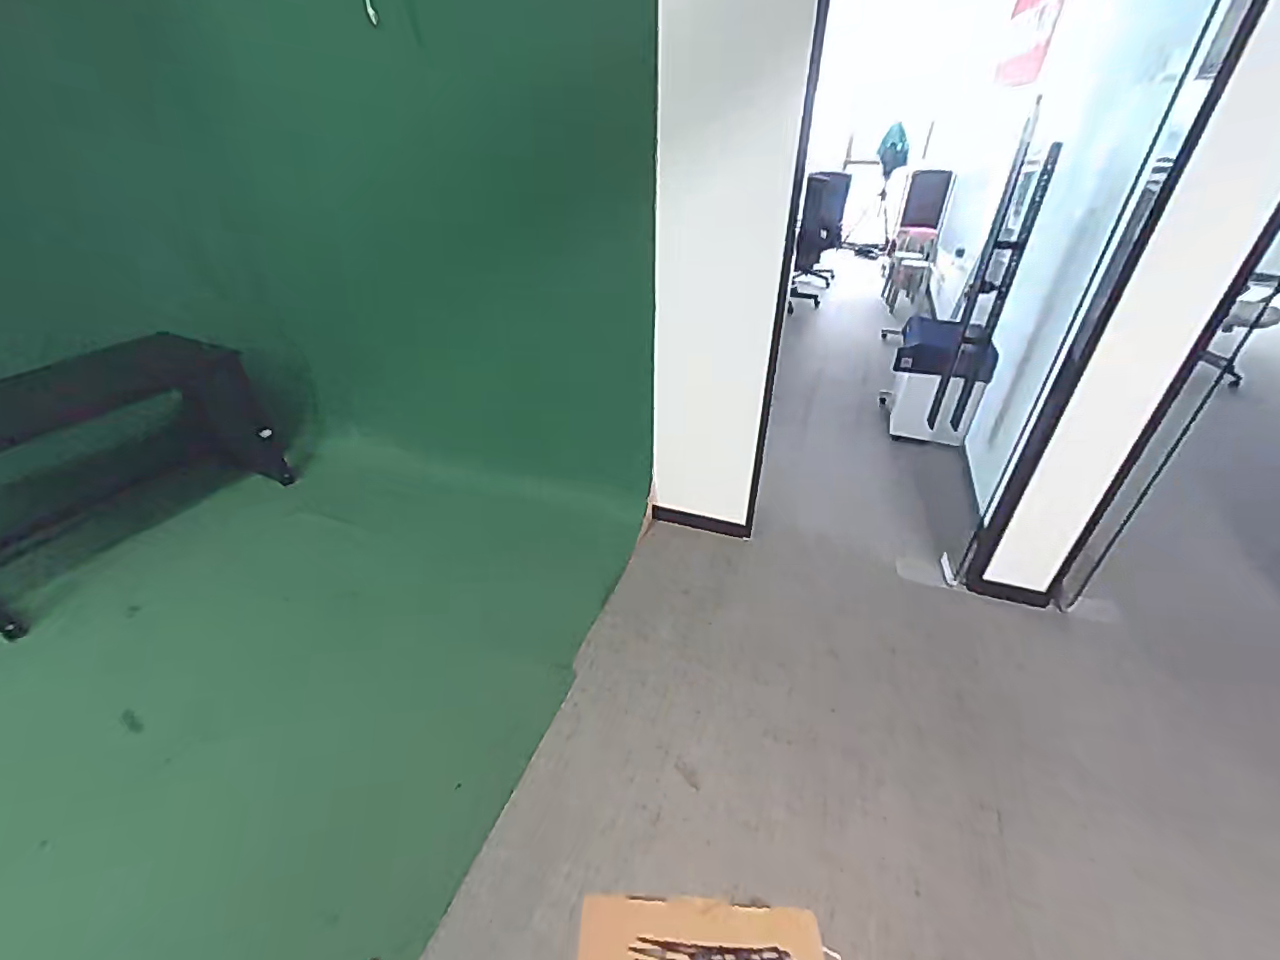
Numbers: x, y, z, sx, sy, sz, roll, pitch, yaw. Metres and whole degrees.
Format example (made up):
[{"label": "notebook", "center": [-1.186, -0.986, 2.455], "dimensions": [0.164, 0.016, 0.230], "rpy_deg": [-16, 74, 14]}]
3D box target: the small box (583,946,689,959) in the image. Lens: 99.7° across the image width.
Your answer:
[{"label": "small box", "center": [0.019, 0.535, 0.447], "dimensions": [0.168, 0.176, 0.179], "rpy_deg": [6, 32, 1]}]
